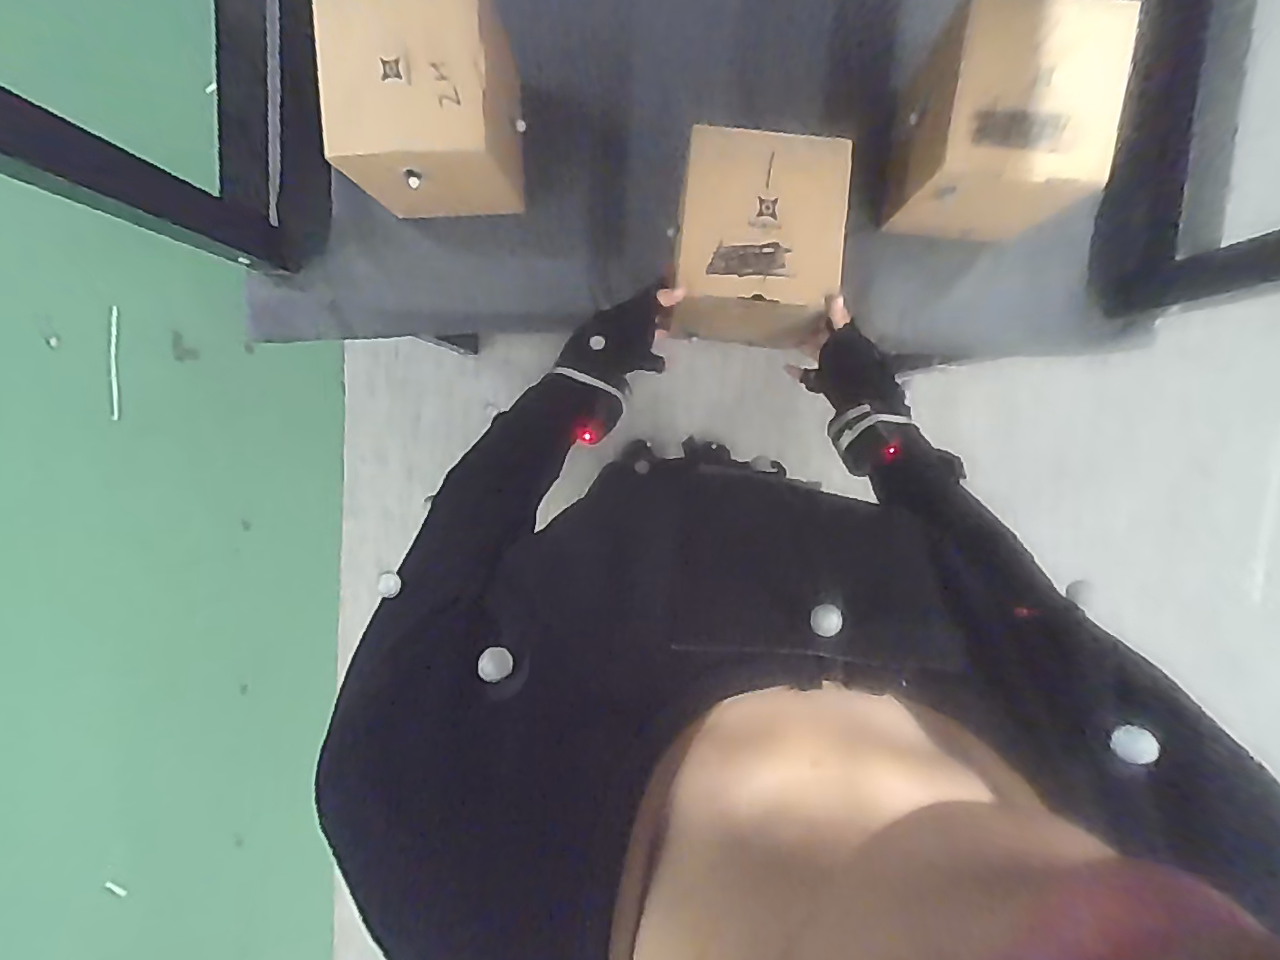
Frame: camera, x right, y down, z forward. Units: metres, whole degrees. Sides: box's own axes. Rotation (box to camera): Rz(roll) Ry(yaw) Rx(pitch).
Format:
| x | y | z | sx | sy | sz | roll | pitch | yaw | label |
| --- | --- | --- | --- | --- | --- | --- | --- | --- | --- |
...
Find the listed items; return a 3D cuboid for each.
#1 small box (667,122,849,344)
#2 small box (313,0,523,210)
| x | y | z | sx | sy | sz | roll | pitch | yaw | label |
| --- | --- | --- | --- | --- | --- | --- | --- | --- | --- |
| 0.122 | -0.267 | 0.626 | 0.168 | 0.176 | 0.179 | 6 | 89 | 0 | small box |
| -0.247 | -0.435 | 0.638 | 0.179 | 0.176 | 0.168 | -1 | 96 | 2 | small box |
